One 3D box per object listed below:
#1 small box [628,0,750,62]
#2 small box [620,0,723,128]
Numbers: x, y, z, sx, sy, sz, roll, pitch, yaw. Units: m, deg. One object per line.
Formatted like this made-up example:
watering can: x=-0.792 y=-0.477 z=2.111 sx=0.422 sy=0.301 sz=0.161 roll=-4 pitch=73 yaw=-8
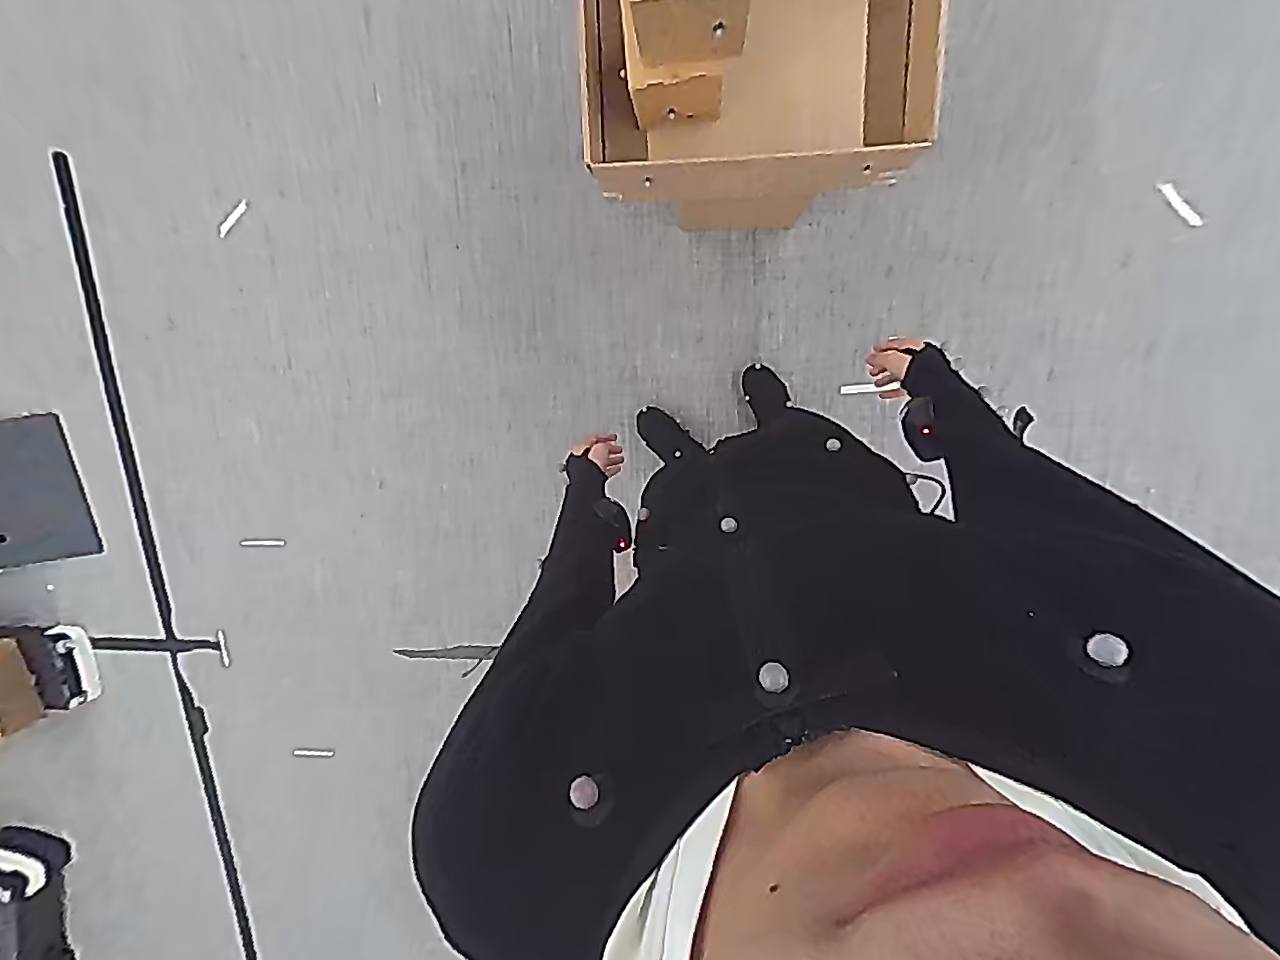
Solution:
small box: x=0.073 y=-0.771 z=0.816 sx=0.179 sy=0.176 sz=0.168 roll=-1 pitch=101 yaw=6
small box: x=0.059 y=-0.781 z=0.983 sx=0.168 sy=0.176 sz=0.179 roll=-5 pitch=101 yaw=7
